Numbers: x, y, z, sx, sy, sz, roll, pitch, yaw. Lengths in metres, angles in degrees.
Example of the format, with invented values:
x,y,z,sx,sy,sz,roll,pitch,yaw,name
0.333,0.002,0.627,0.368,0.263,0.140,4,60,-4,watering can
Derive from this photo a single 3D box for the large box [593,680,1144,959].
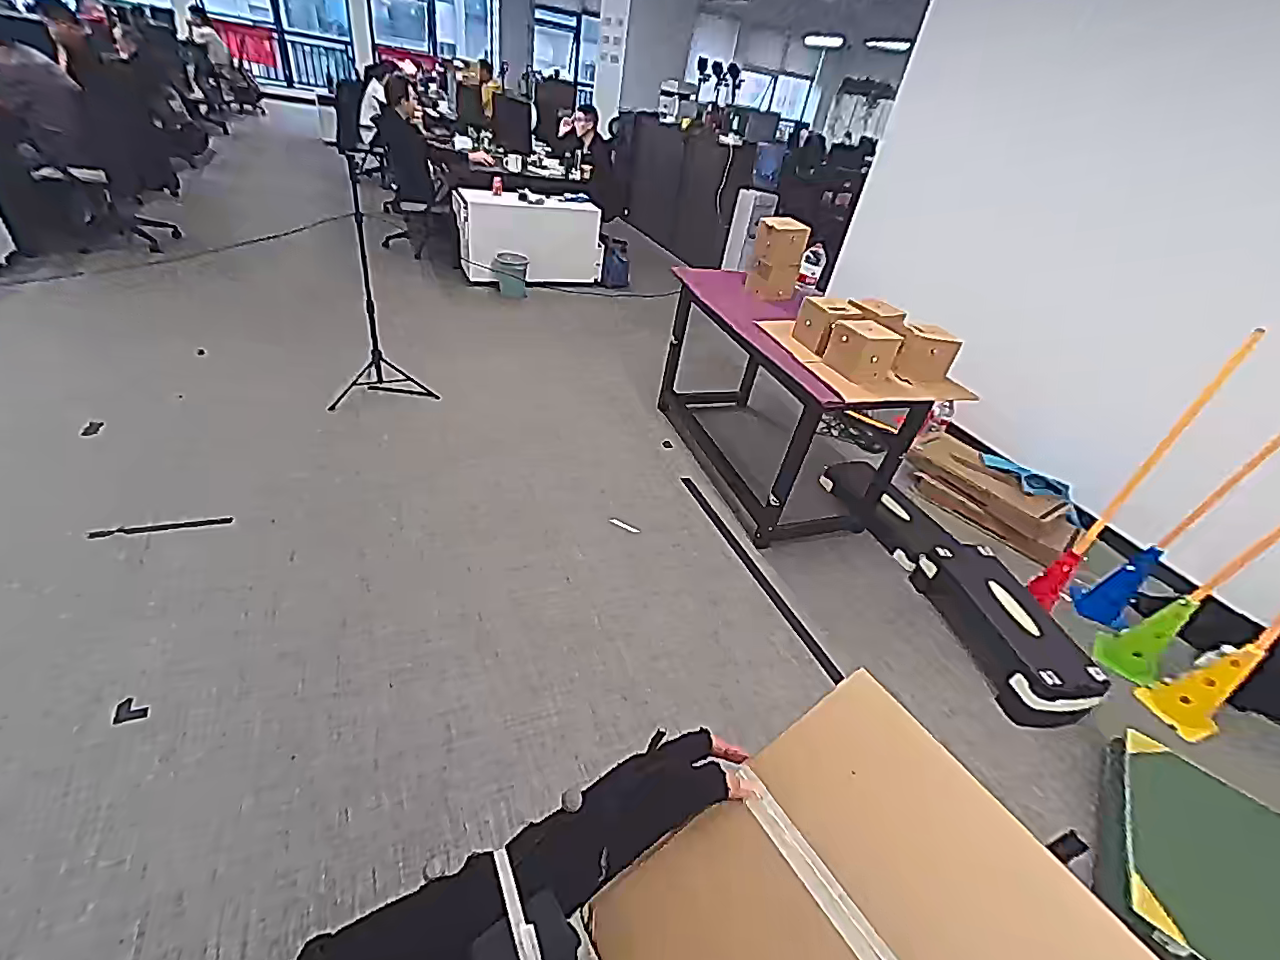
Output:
x,y,z,sx,sy,sz,roll,pitch,yaw,name
0.198,0.470,0.465,0.320,0.320,0.408,-28,54,-23,large box
